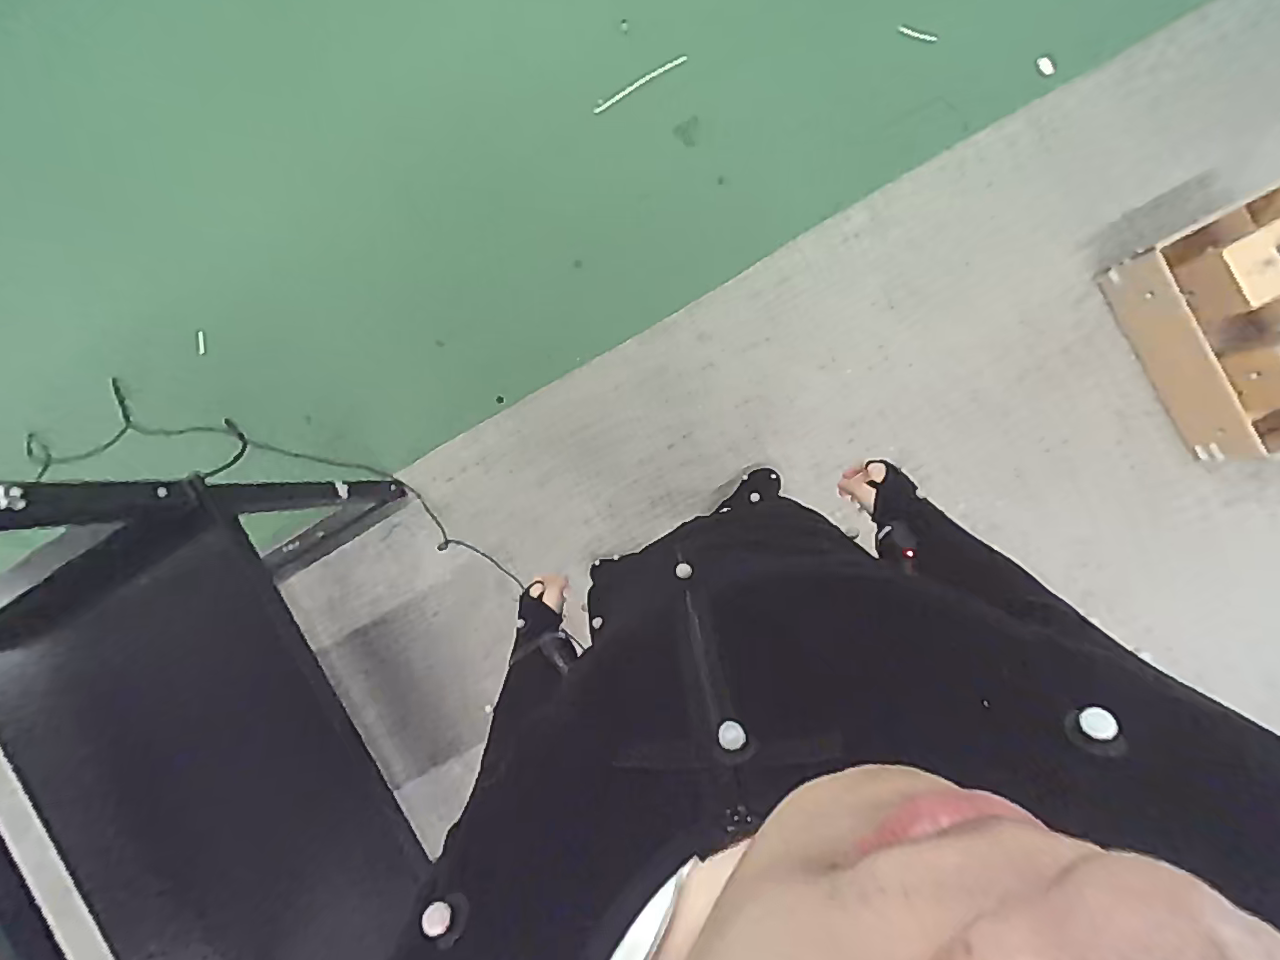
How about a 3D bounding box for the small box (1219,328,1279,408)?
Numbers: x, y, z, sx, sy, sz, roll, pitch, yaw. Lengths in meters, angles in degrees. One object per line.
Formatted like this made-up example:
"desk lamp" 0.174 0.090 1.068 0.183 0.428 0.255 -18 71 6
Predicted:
"small box" 1.673 -0.300 1.395 0.179 0.176 0.168 -27 88 4
